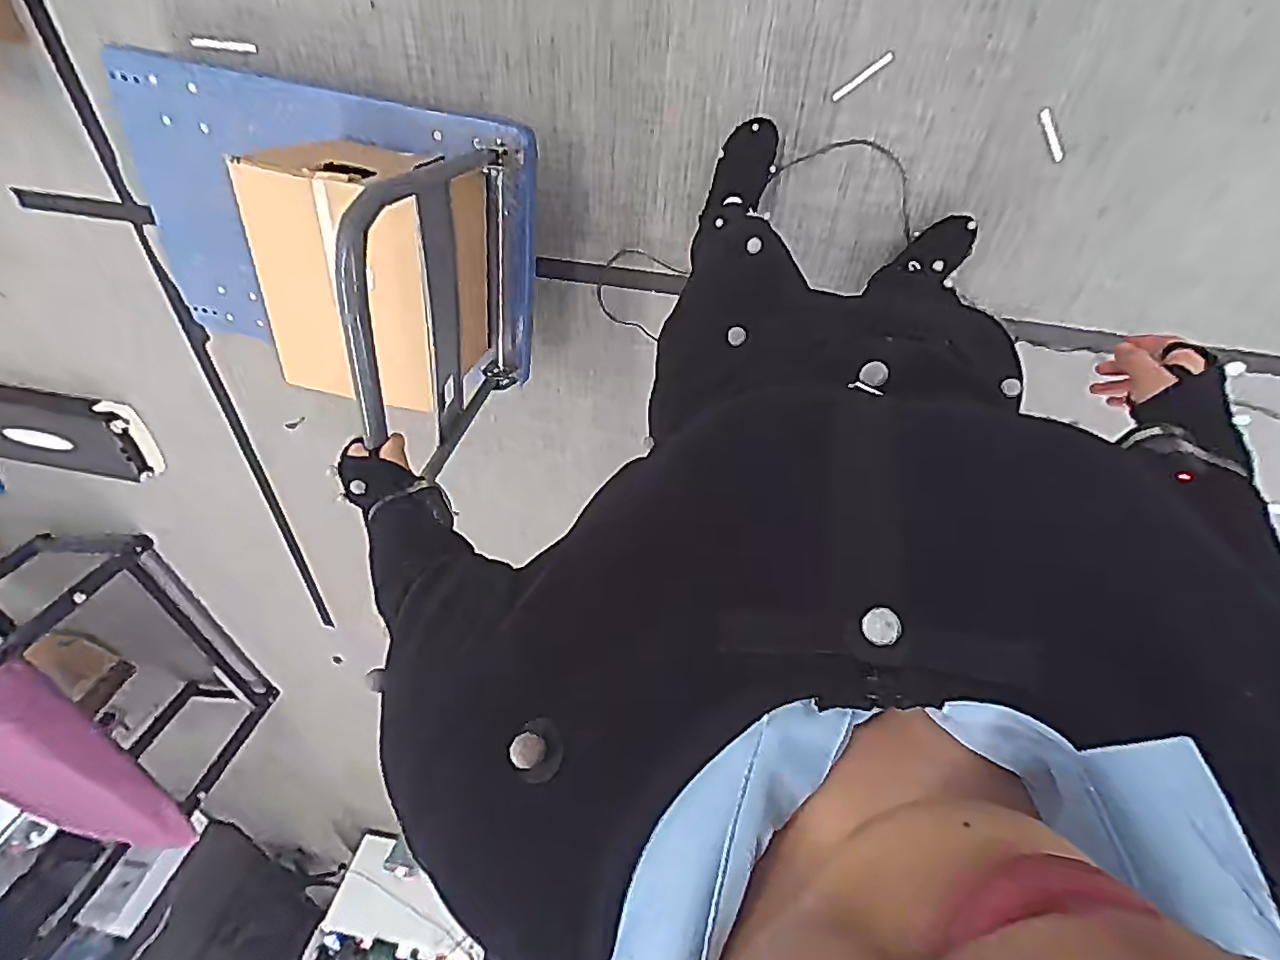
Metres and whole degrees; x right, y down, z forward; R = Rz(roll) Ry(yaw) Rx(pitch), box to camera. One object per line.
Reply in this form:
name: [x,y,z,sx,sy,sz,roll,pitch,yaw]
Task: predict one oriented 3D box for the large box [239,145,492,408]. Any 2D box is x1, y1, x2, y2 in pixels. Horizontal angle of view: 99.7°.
large box: [-0.505,-0.415,1.101,0.320,0.320,0.408,11,126,0]
